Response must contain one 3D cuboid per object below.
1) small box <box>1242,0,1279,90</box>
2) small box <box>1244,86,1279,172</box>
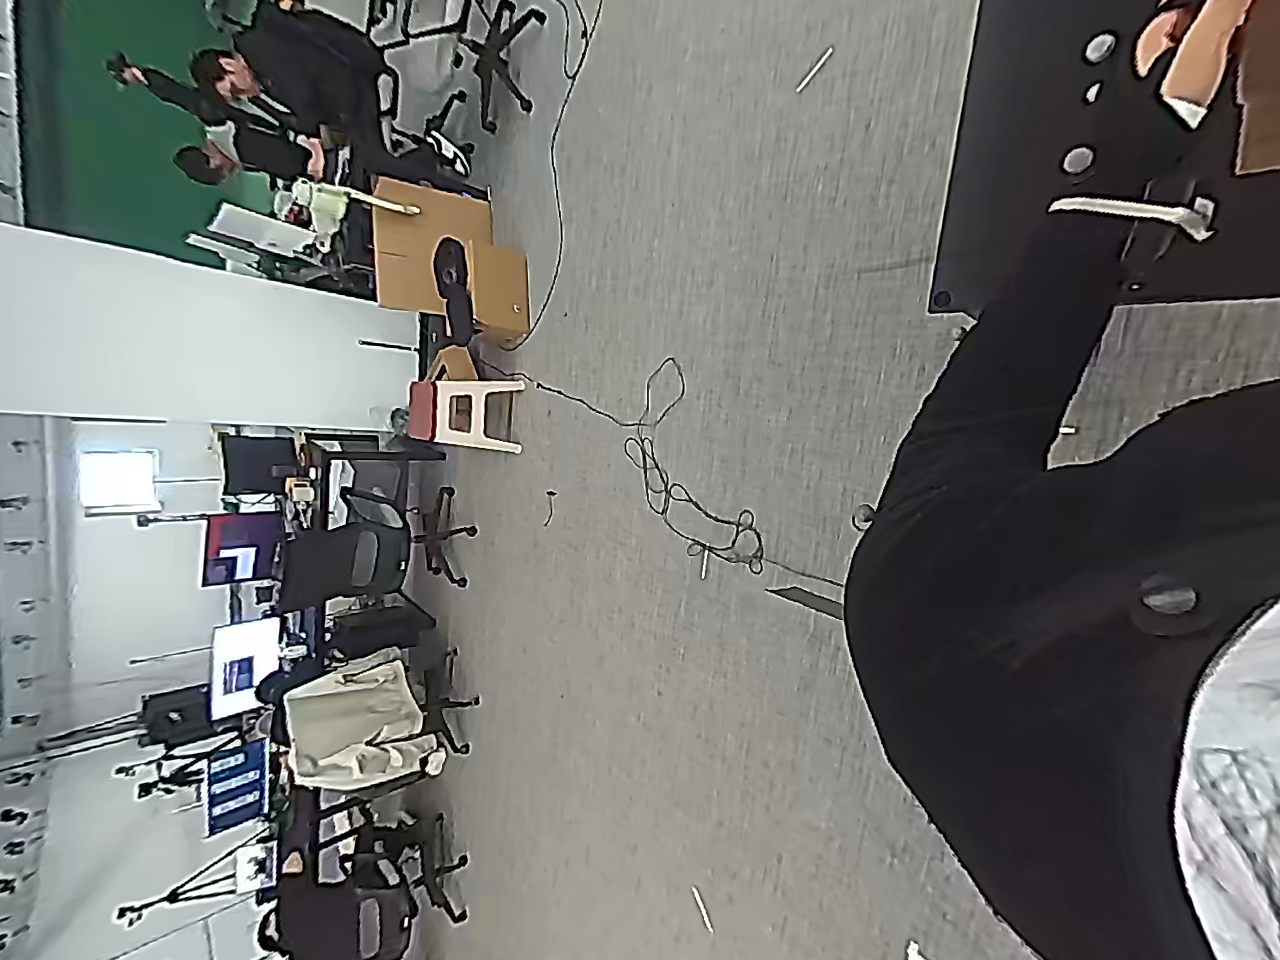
[{"bbox_3d":[0.485,-0.374,0.309,0.179,0.176,0.168,7,96,46],"label":"small box"},{"bbox_3d":[0.605,-0.380,0.421,0.168,0.176,0.179,8,98,47],"label":"small box"}]
